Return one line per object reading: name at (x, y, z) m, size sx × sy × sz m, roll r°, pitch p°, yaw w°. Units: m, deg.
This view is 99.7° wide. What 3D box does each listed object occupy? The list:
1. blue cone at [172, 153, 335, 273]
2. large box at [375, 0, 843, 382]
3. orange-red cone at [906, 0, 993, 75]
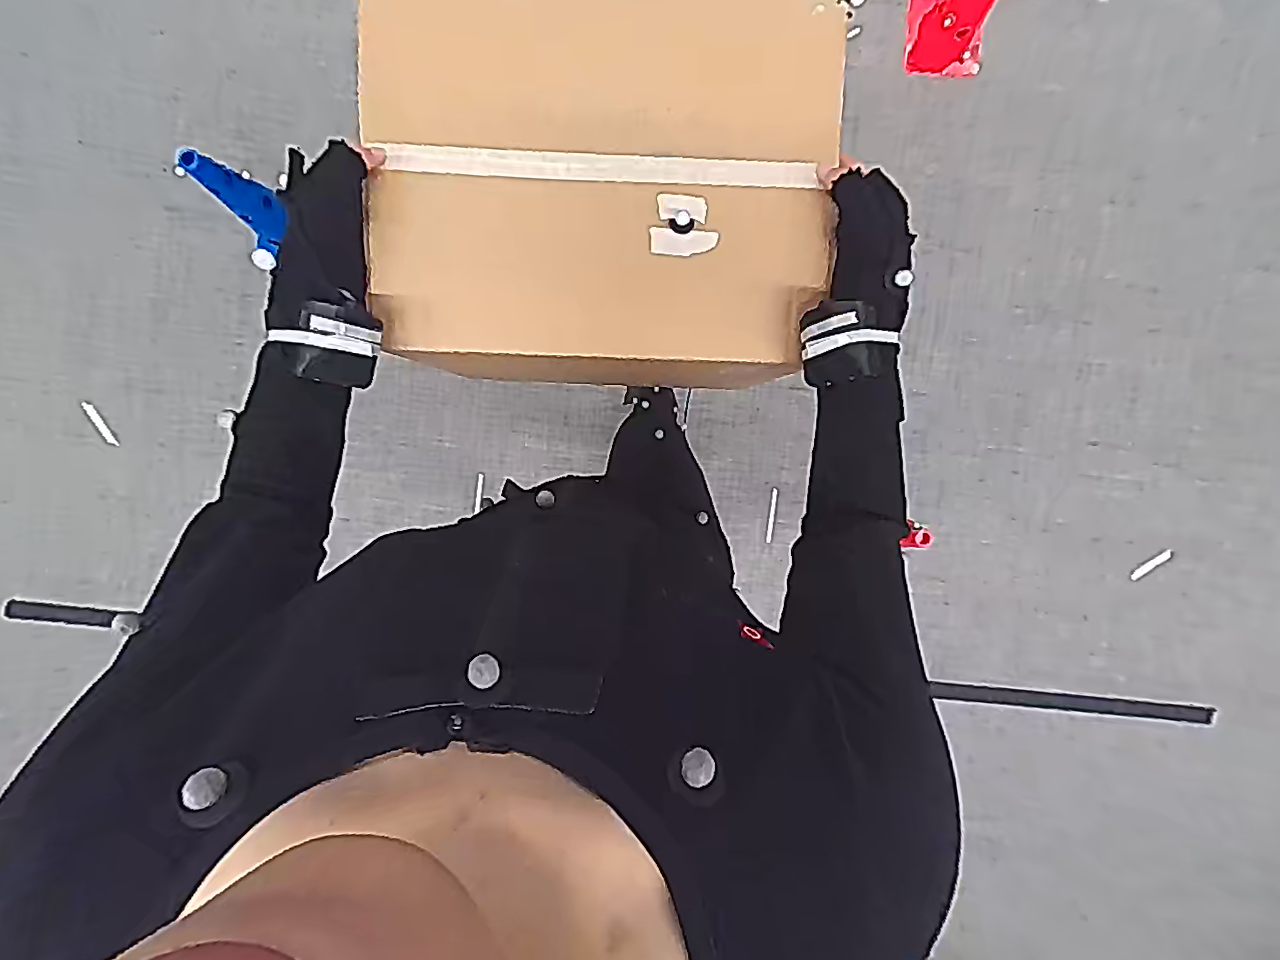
blue cone at (-0.900, -0.638, 1.255) m, size 0.192 × 0.380 × 0.193 m, roll 10°, pitch 92°, yaw -1°
large box at (-0.034, -0.283, 0.616) m, size 0.408 × 0.320 × 0.320 m, roll 1°, pitch 96°, yaw -3°
orange-red cone at (0.808, -1.170, 1.251) m, size 0.198 × 0.360 × 0.199 m, roll 4°, pitch 91°, yaw -2°
